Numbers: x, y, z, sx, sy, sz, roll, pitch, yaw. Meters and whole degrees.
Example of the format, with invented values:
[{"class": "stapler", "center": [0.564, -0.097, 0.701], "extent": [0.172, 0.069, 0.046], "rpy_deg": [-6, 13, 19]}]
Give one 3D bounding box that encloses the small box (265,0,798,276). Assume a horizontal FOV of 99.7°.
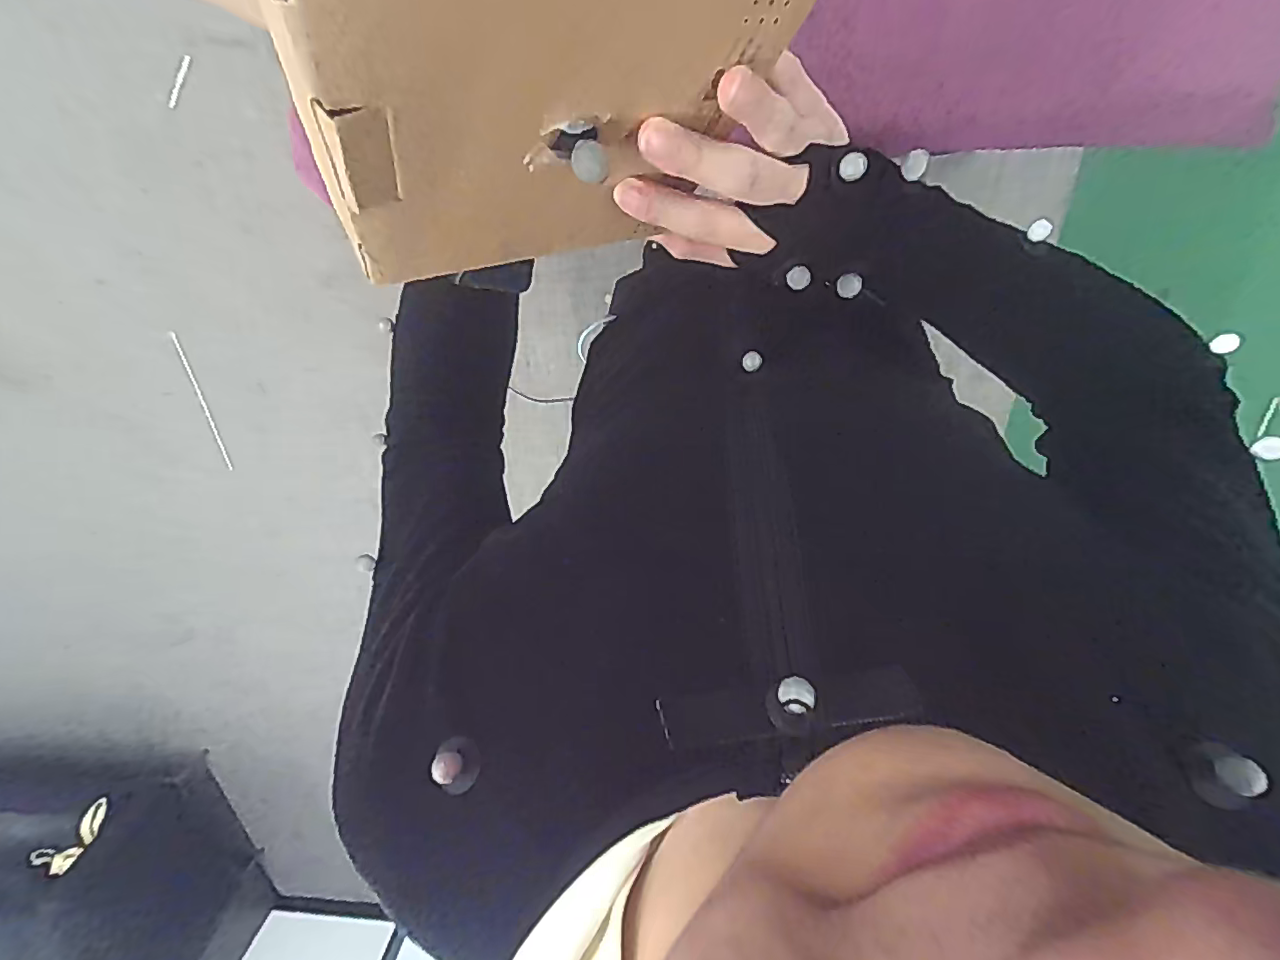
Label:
[{"class": "small box", "center": [-0.058, -0.214, 0.213], "extent": [0.176, 0.168, 0.179], "rpy_deg": [-21, 88, -21]}]
